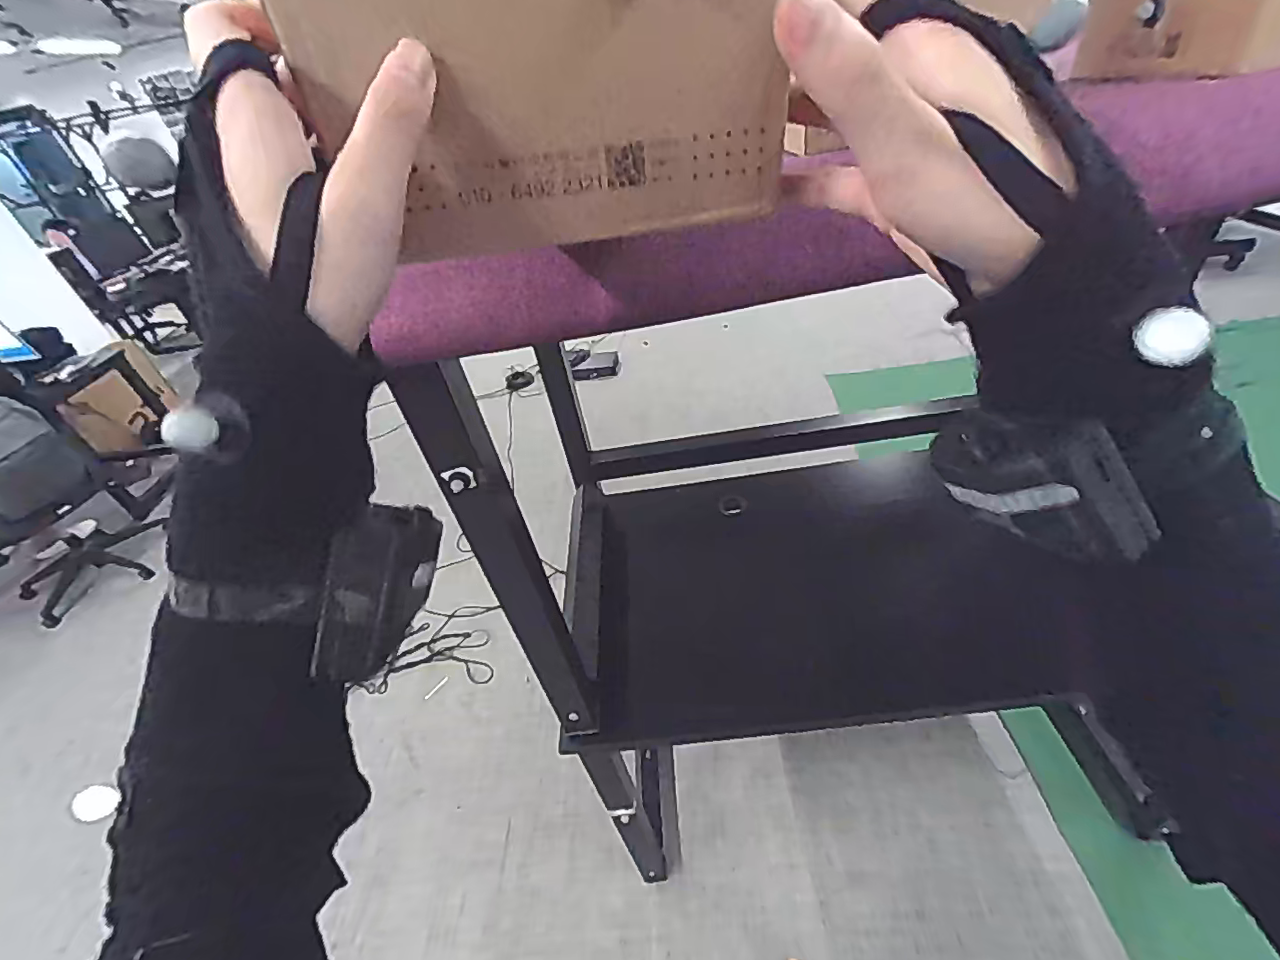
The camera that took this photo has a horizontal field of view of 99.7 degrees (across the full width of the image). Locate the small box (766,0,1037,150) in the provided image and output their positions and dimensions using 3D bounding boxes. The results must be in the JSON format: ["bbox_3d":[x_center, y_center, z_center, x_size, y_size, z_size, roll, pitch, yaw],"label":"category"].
[{"bbox_3d":[0.181,-0.368,0.415,0.168,0.176,0.179,-10,37,2],"label":"small box"}]
